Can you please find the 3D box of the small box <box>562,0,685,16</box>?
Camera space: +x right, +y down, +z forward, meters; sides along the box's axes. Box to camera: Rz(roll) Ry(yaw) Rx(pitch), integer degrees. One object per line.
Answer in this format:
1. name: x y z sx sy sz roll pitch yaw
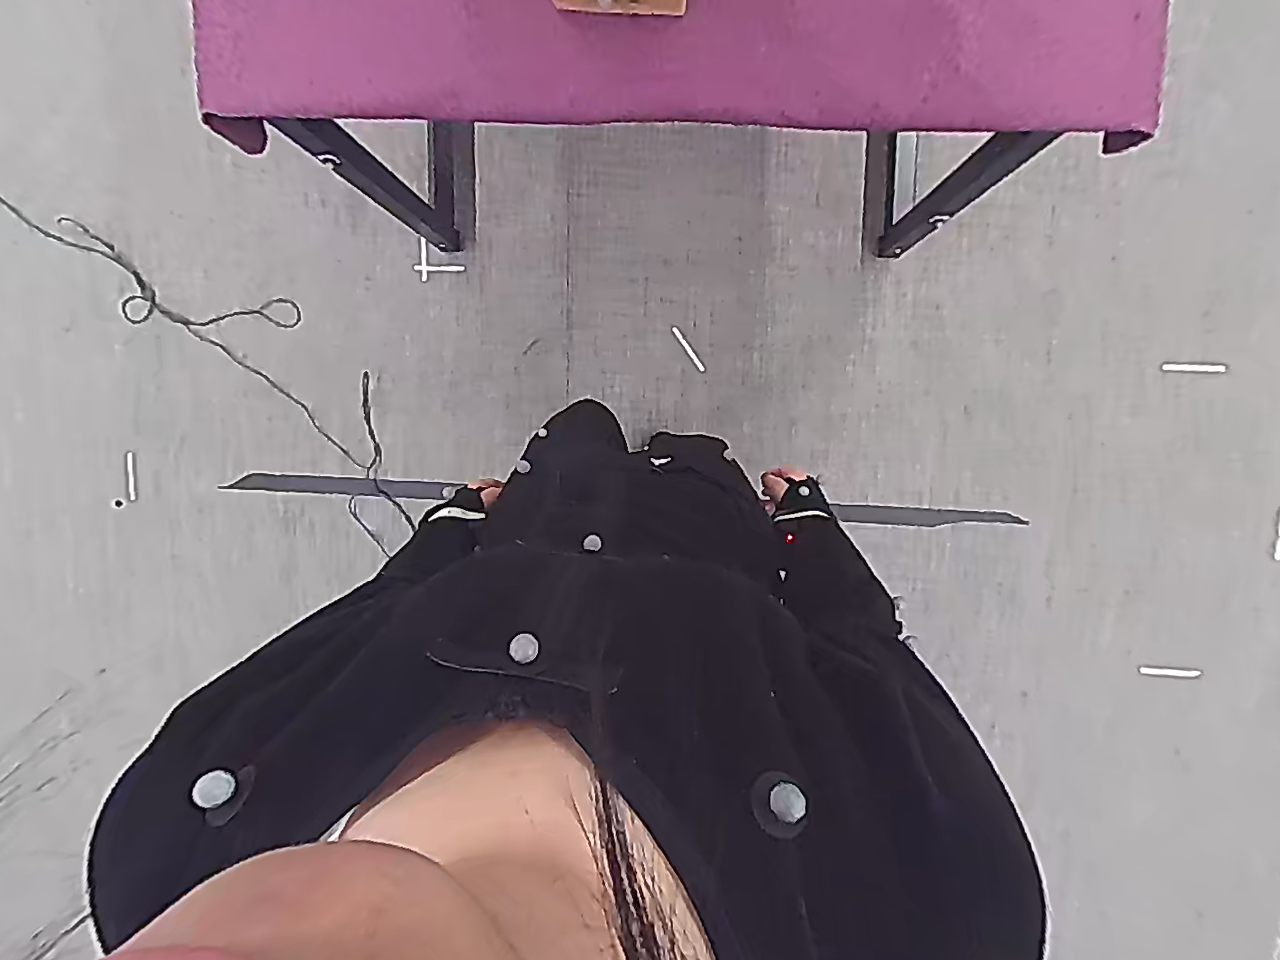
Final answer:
1. small box: -0.024 -0.664 0.588 0.168 0.176 0.179 5 96 4
